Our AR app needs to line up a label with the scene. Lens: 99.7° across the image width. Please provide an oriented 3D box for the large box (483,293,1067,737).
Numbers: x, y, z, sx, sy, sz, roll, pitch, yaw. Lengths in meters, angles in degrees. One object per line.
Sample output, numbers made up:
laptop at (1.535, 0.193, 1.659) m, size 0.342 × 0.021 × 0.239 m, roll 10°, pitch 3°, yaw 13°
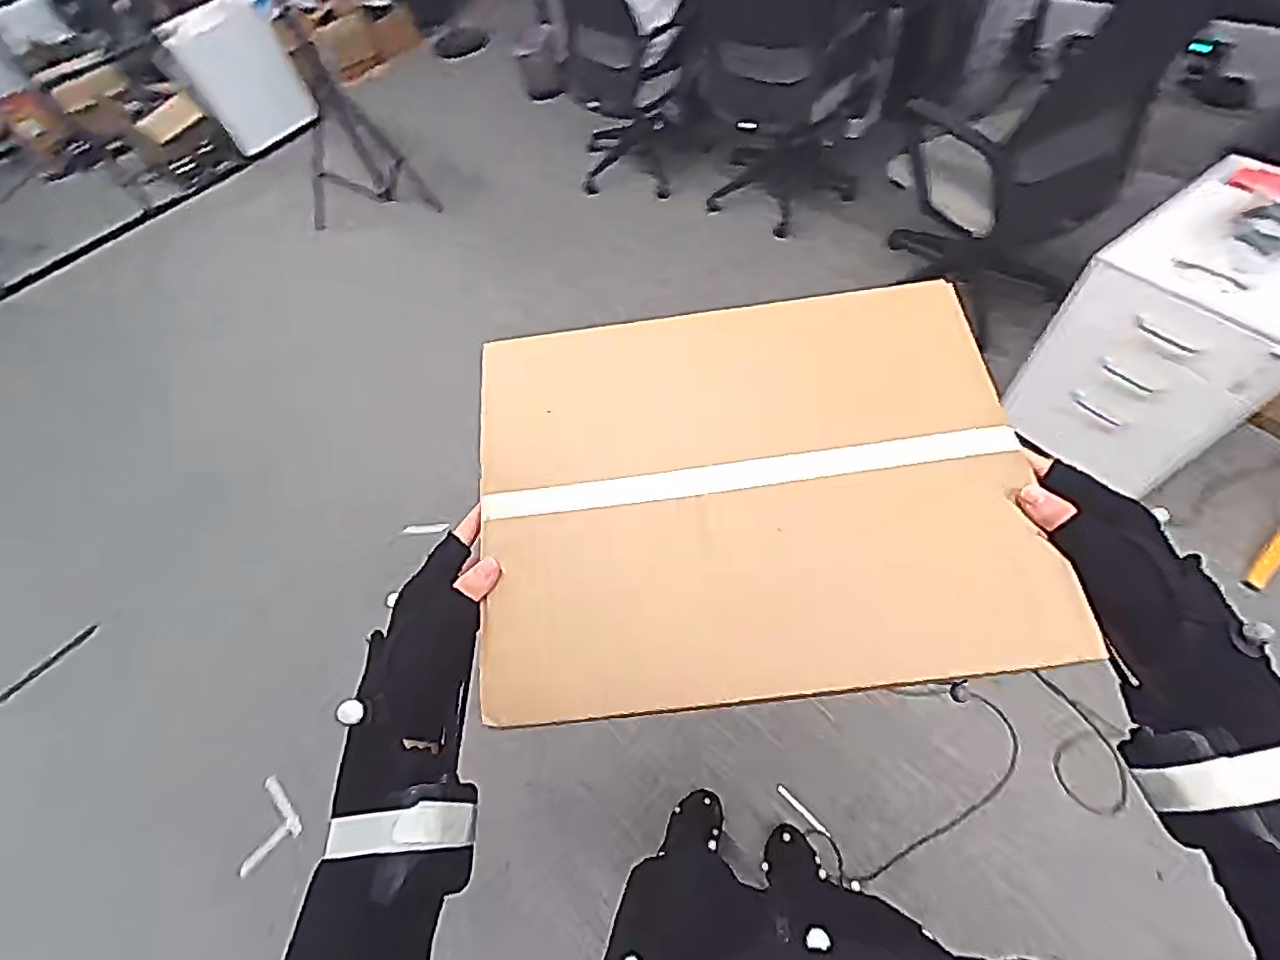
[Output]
large box at (0.089, 0.060, 0.561) m, size 0.408 × 0.320 × 0.320 m, roll -9°, pitch 67°, yaw 2°
